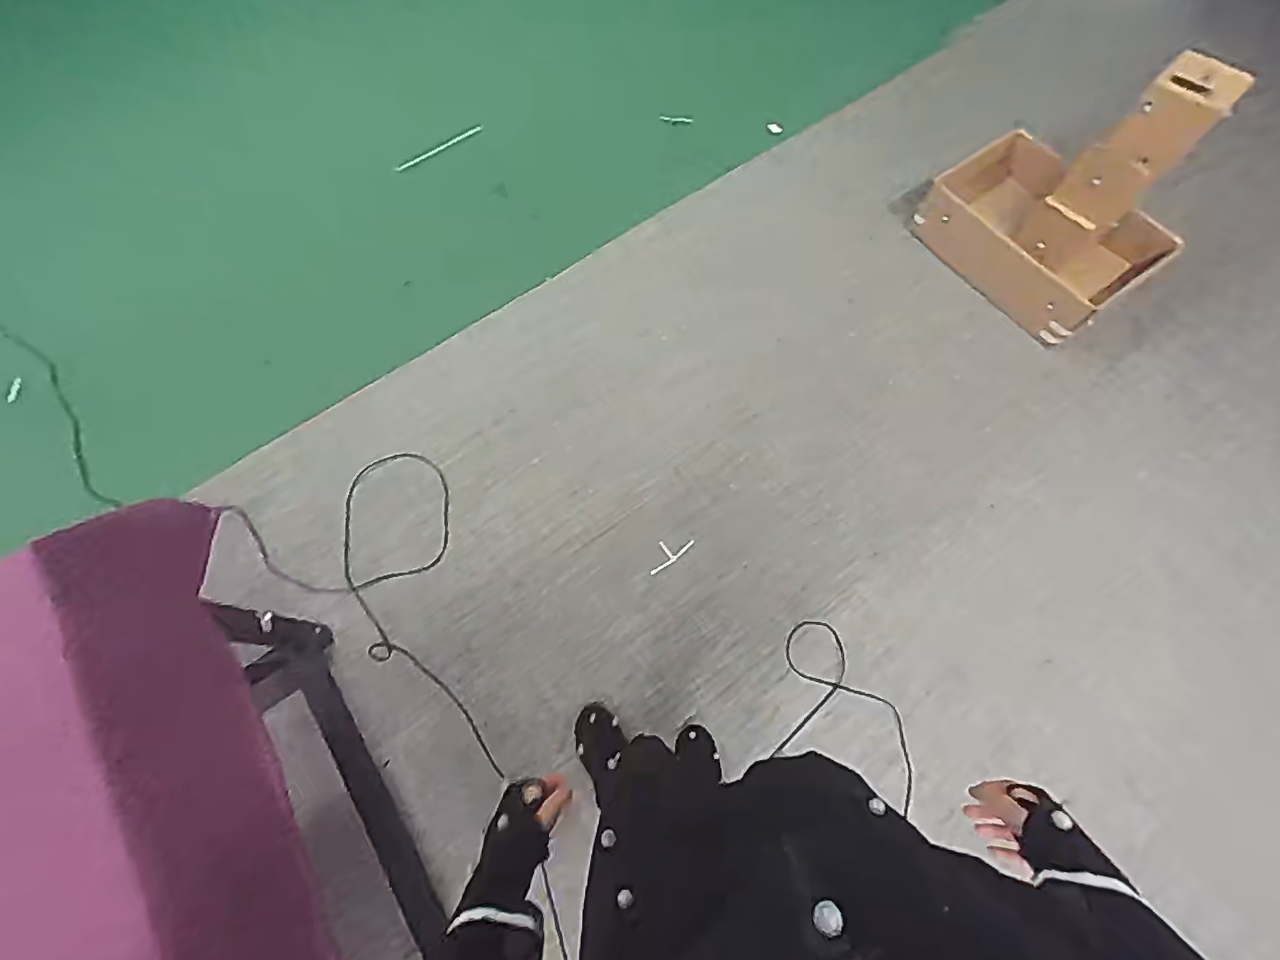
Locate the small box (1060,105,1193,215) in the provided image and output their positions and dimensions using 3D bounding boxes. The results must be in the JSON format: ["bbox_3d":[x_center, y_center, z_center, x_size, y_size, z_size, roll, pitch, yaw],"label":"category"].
[{"bbox_3d":[1.317,-0.870,1.479,0.168,0.176,0.179,-38,70,-11],"label":"small box"}]

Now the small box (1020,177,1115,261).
[{"bbox_3d":[1.307,-0.806,1.631,0.179,0.176,0.168,-34,69,-9],"label":"small box"}]
